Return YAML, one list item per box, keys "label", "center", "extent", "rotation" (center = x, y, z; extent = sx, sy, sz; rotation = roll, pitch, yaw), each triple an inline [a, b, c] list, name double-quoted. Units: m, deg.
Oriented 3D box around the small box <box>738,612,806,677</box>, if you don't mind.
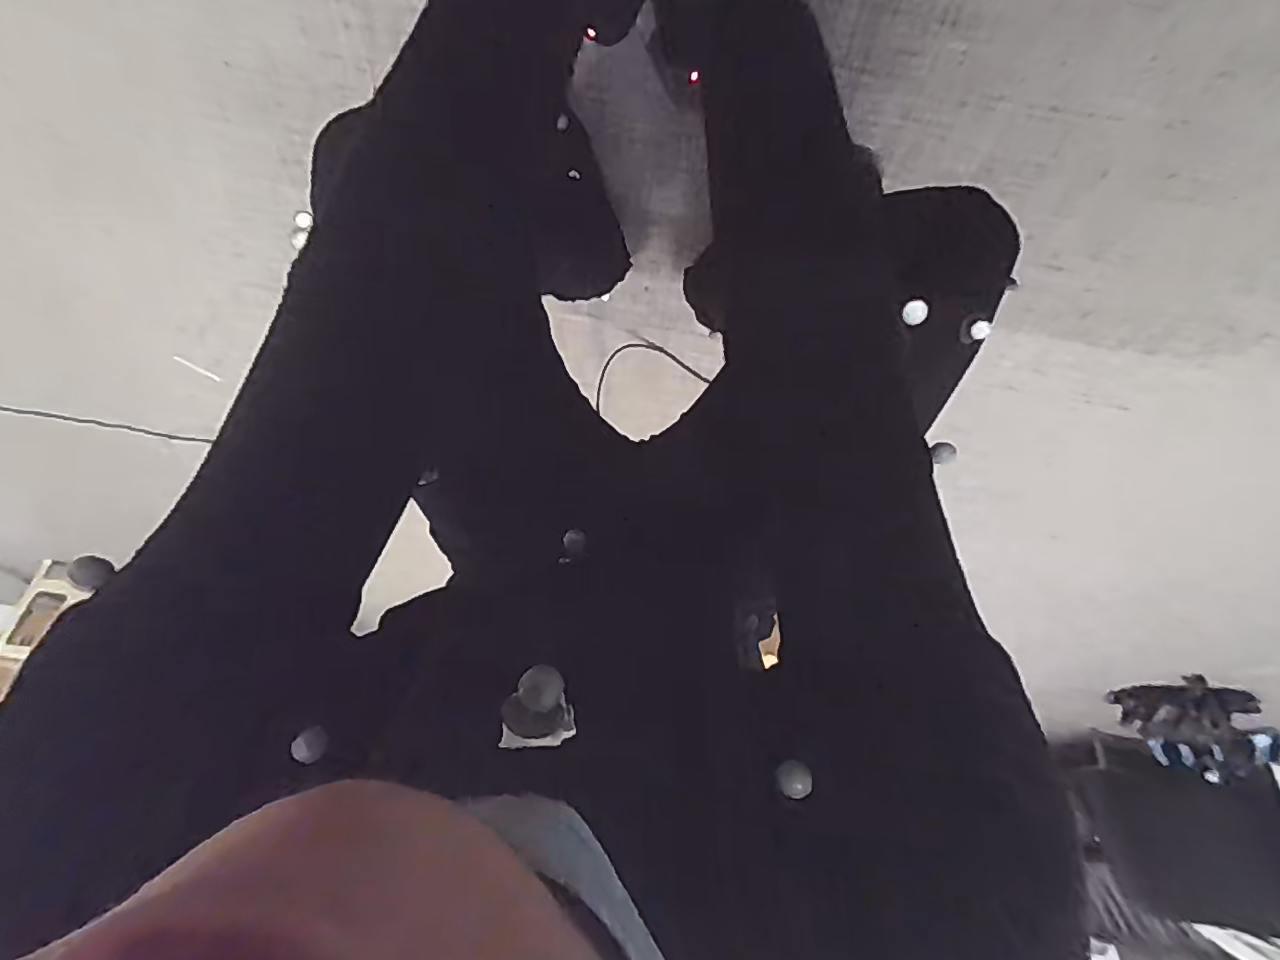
- label: "small box"
  center: [0.456, 0.575, 1.892]
  extent: [0.168, 0.176, 0.179]
  rotation: [18, 145, -15]
